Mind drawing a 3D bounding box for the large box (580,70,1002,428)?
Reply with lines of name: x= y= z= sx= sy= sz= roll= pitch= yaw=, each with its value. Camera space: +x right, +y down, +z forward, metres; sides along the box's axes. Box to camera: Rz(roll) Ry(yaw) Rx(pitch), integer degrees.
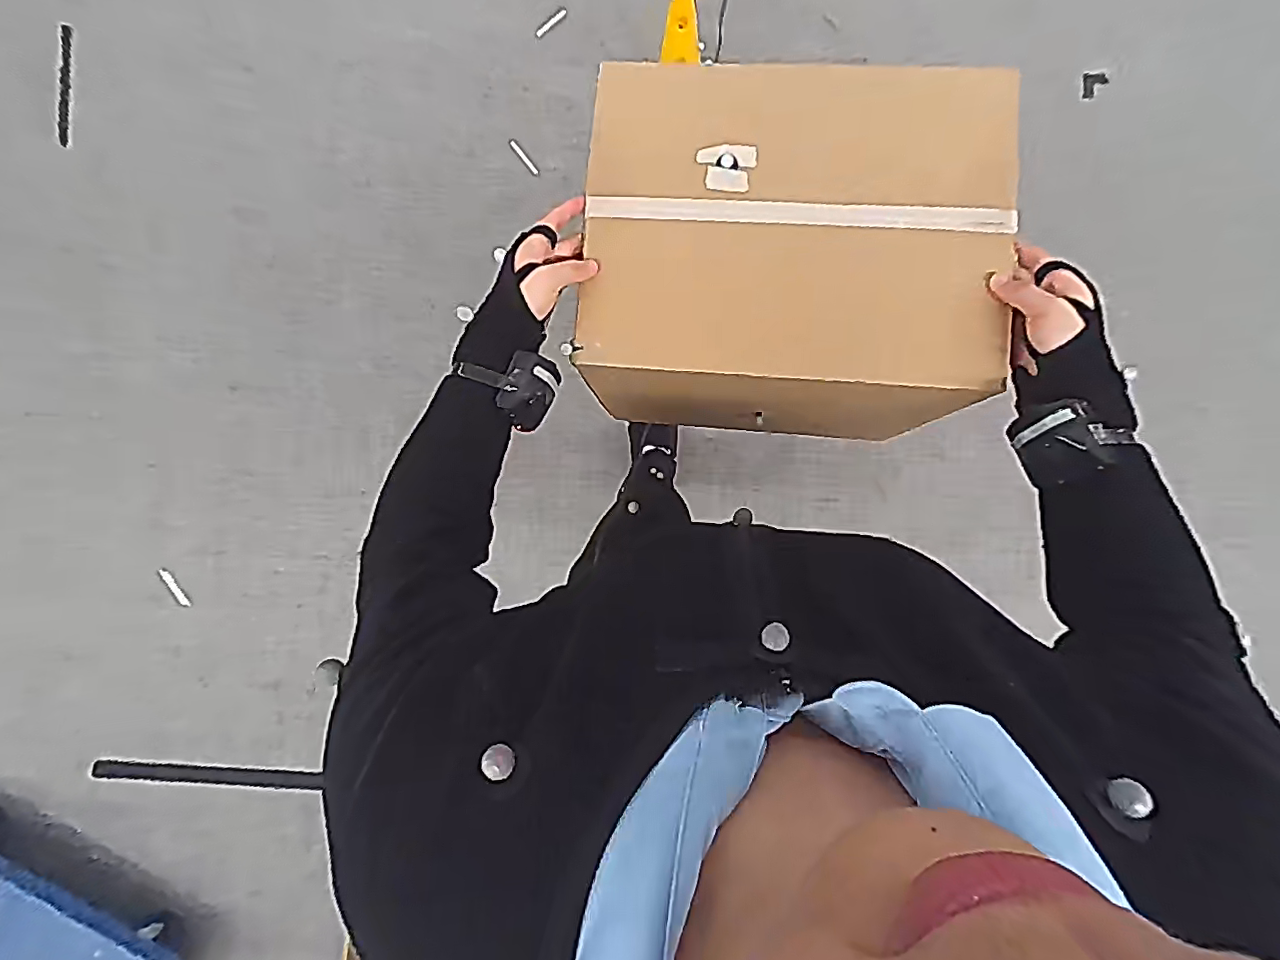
large box: x=0.161 y=-0.247 z=0.682 sx=0.408 sy=0.320 sz=0.320 roll=4 pitch=85 yaw=6
